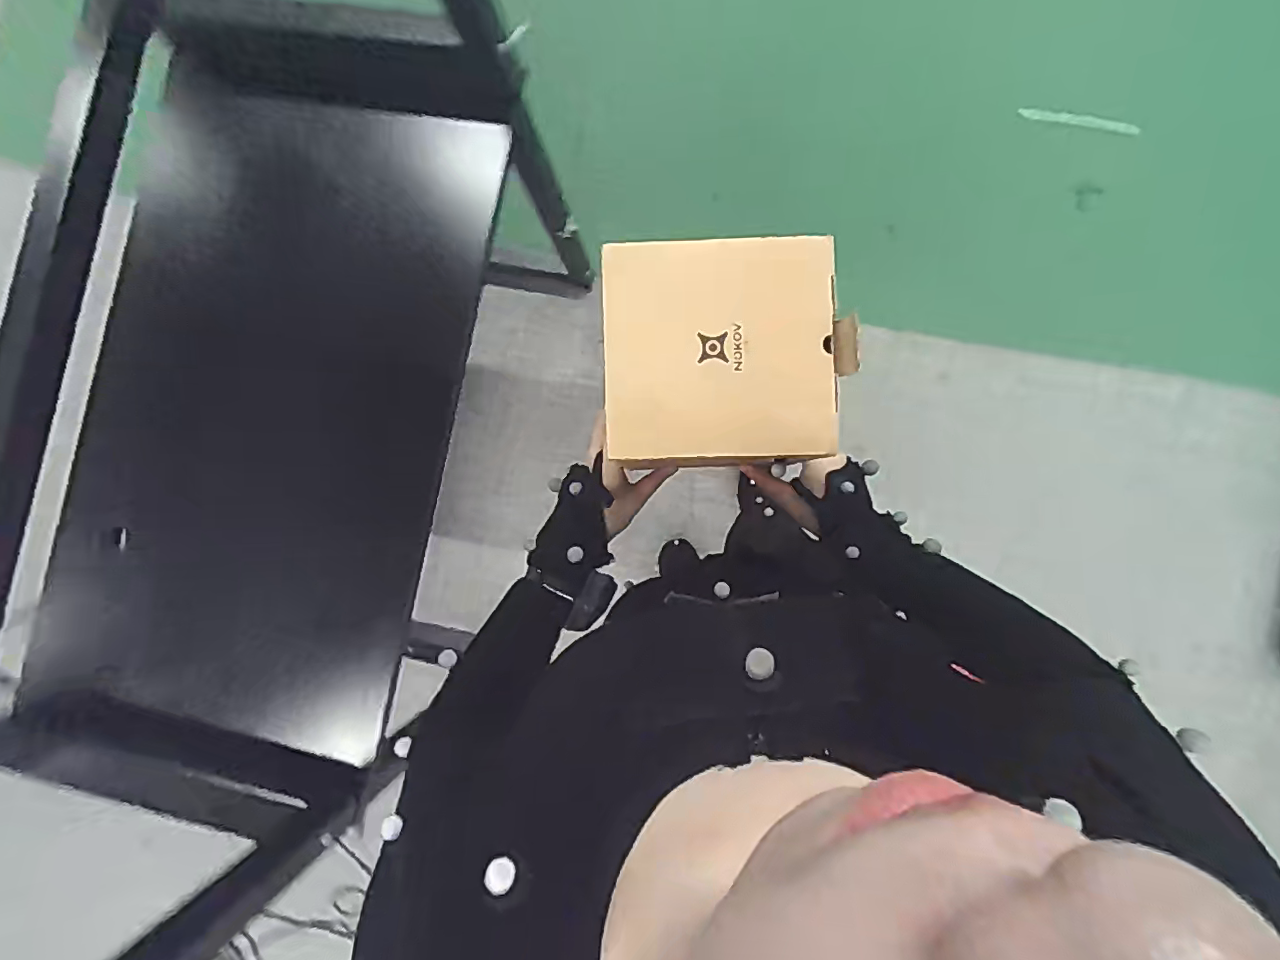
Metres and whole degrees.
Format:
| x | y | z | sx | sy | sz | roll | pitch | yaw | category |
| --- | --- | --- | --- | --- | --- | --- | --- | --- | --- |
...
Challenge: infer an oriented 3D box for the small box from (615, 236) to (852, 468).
| x | y | z | sx | sy | sz | roll | pitch | yaw | category |
| --- | --- | --- | --- | --- | --- | --- | --- | --- | --- |
| 0.072 | -0.097 | 0.482 | 0.179 | 0.176 | 0.168 | -1 | 89 | 2 | small box |
